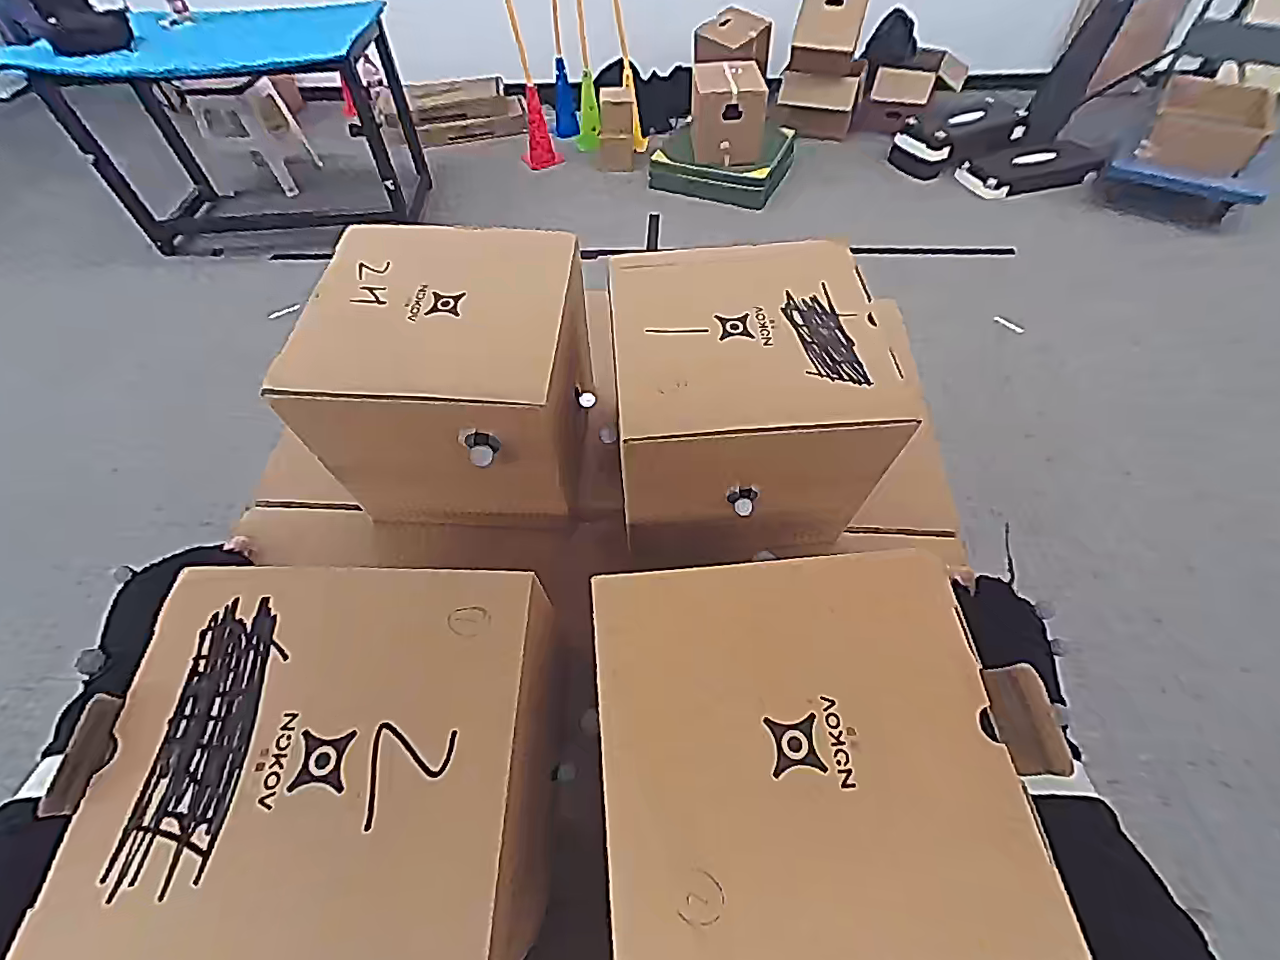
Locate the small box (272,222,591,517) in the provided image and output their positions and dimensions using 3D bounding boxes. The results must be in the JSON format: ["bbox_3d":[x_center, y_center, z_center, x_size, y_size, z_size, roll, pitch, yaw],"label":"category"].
[{"bbox_3d":[-0.138,-0.081,0.442,0.179,0.176,0.168,4,58,3],"label":"small box"}]
